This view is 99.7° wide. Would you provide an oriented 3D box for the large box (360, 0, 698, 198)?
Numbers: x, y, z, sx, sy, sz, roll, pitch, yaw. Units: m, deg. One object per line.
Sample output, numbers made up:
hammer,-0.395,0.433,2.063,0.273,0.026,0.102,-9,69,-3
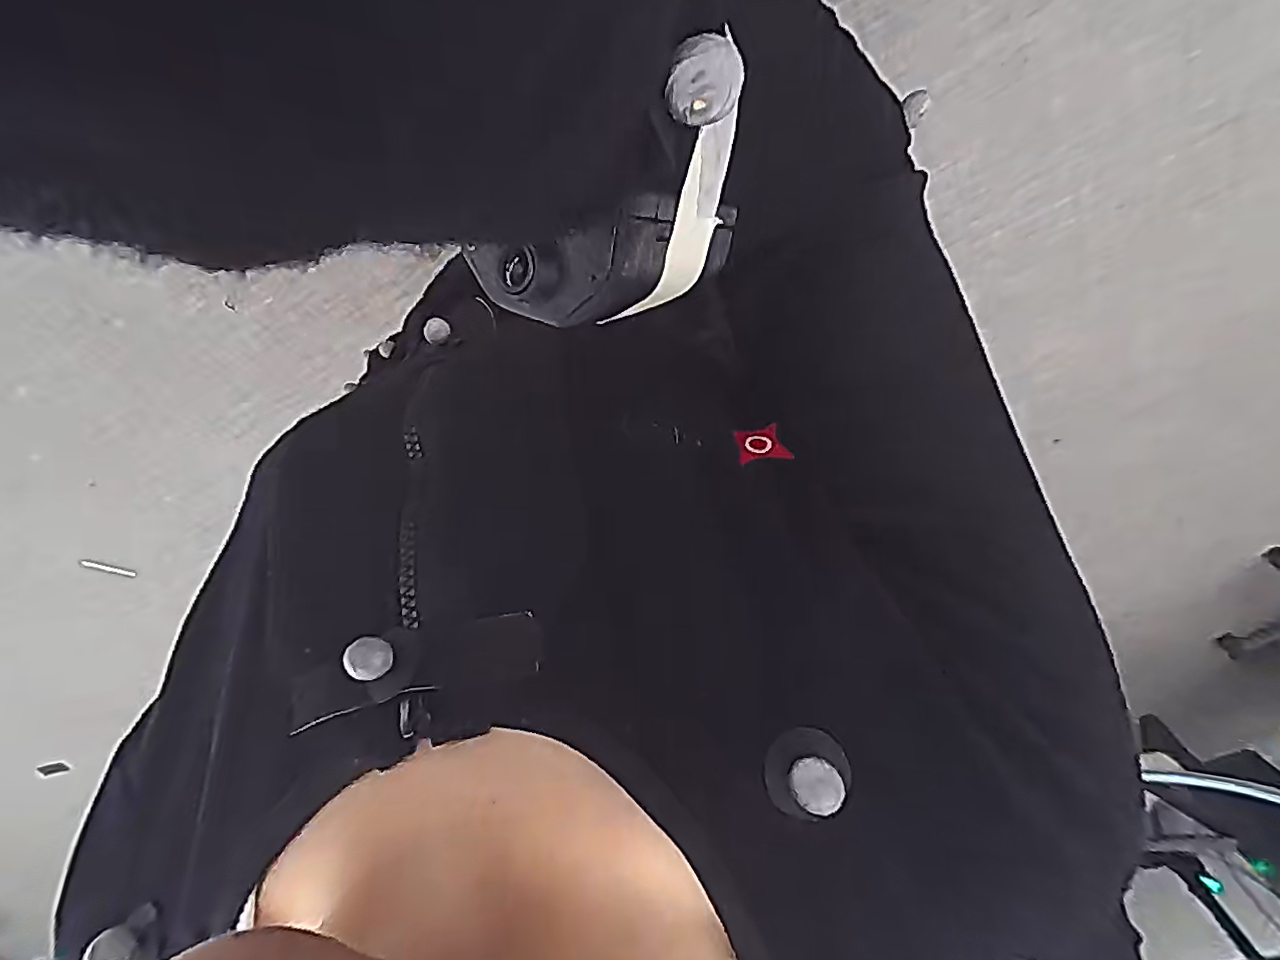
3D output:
large box,-0.159,-0.723,0.893,0.408,0.320,0.320,-24,119,12
